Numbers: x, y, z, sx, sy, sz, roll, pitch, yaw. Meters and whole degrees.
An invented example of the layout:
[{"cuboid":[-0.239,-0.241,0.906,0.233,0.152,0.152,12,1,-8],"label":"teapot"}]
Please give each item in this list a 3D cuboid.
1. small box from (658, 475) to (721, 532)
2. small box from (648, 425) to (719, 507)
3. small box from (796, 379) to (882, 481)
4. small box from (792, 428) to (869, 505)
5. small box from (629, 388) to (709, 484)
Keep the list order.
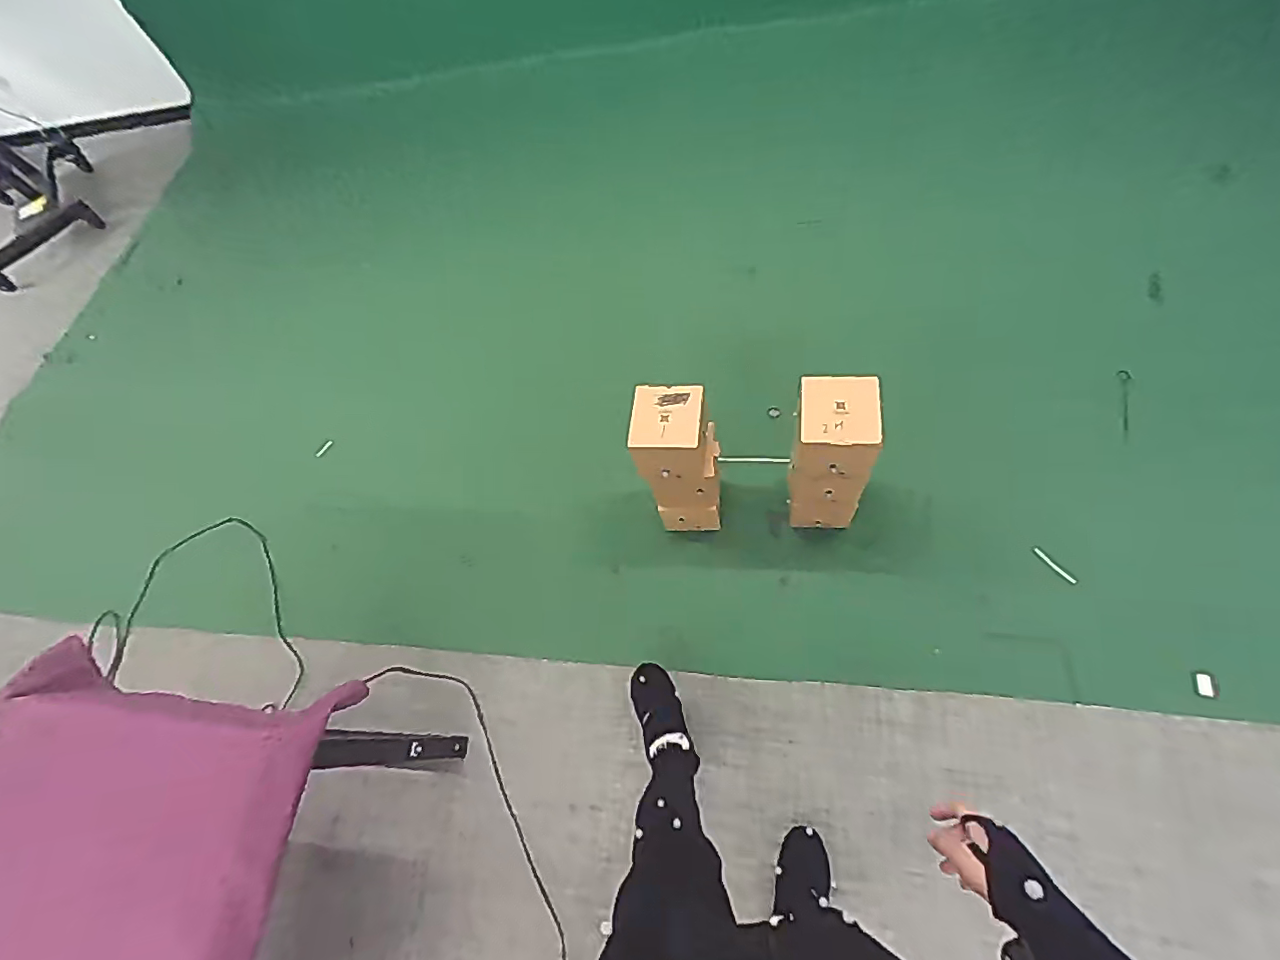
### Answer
[{"cuboid":[0.152,0.051,1.606,0.168,0.176,0.179,-2,63,11],"label":"small box"},{"cuboid":[0.124,-0.034,1.470,0.179,0.176,0.168,-2,63,11],"label":"small box"},{"cuboid":[0.453,-0.114,1.251,0.168,0.176,0.179,3,66,13],"label":"small box"},{"cuboid":[0.486,-0.043,1.396,0.168,0.176,0.179,2,66,11],"label":"small box"},{"cuboid":[0.077,-0.107,1.329,0.168,0.176,0.179,2,64,13],"label":"small box"}]
